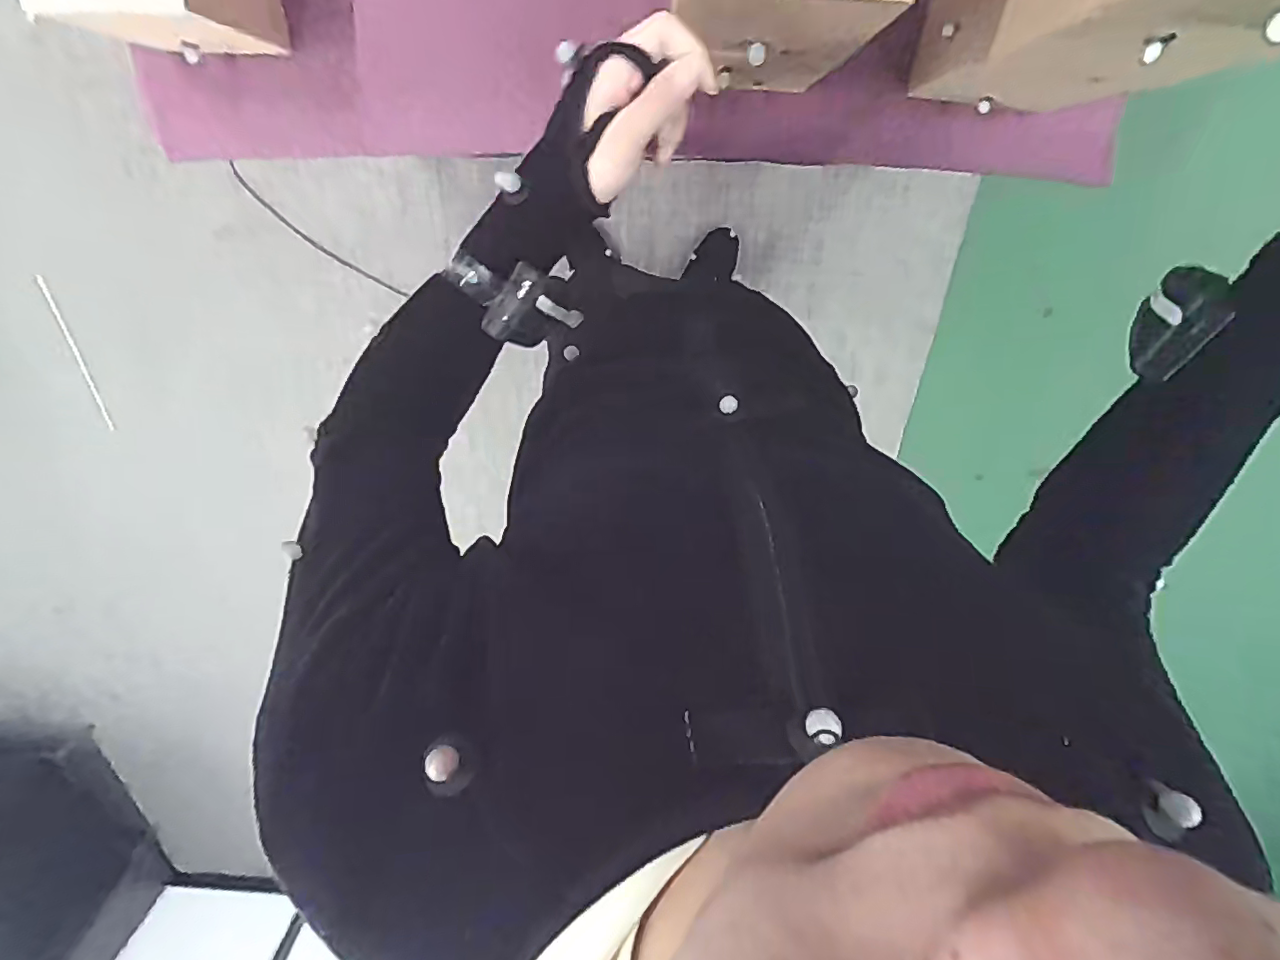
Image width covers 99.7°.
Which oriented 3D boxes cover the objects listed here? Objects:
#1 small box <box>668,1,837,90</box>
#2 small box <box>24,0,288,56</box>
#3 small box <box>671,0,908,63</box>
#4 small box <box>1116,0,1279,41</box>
[{"bbox_3d":[0.119,-0.514,0.545,0.168,0.176,0.179,5,117,1],"label":"small box"},{"bbox_3d":[-0.506,-0.565,0.552,0.168,0.176,0.179,3,118,2],"label":"small box"},{"bbox_3d":[0.112,-0.441,0.398,0.168,0.176,0.179,6,118,1],"label":"small box"},{"bbox_3d":[0.383,-0.337,0.246,0.168,0.176,0.179,8,119,1],"label":"small box"}]
